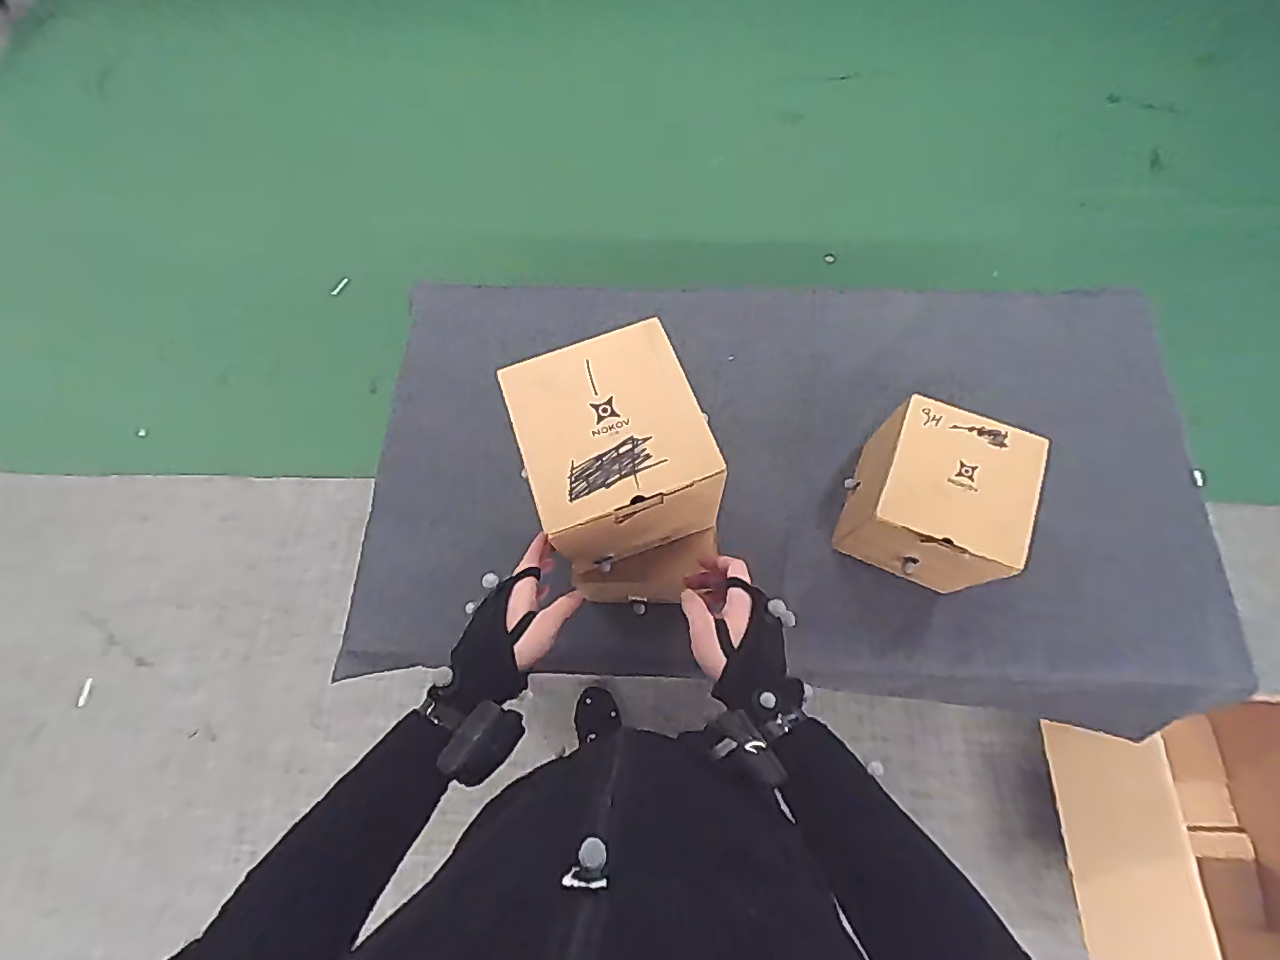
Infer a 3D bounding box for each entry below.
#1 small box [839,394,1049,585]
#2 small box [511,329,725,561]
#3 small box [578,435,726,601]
[{"bbox_3d":[0.380,0.023,0.708,0.168,0.176,0.179,23,74,10],"label":"small box"},{"bbox_3d":[-0.020,-0.023,0.581,0.168,0.176,0.179,-19,68,-4],"label":"small box"},{"bbox_3d":[0.016,0.055,0.692,0.168,0.176,0.179,-1,71,2],"label":"small box"}]
